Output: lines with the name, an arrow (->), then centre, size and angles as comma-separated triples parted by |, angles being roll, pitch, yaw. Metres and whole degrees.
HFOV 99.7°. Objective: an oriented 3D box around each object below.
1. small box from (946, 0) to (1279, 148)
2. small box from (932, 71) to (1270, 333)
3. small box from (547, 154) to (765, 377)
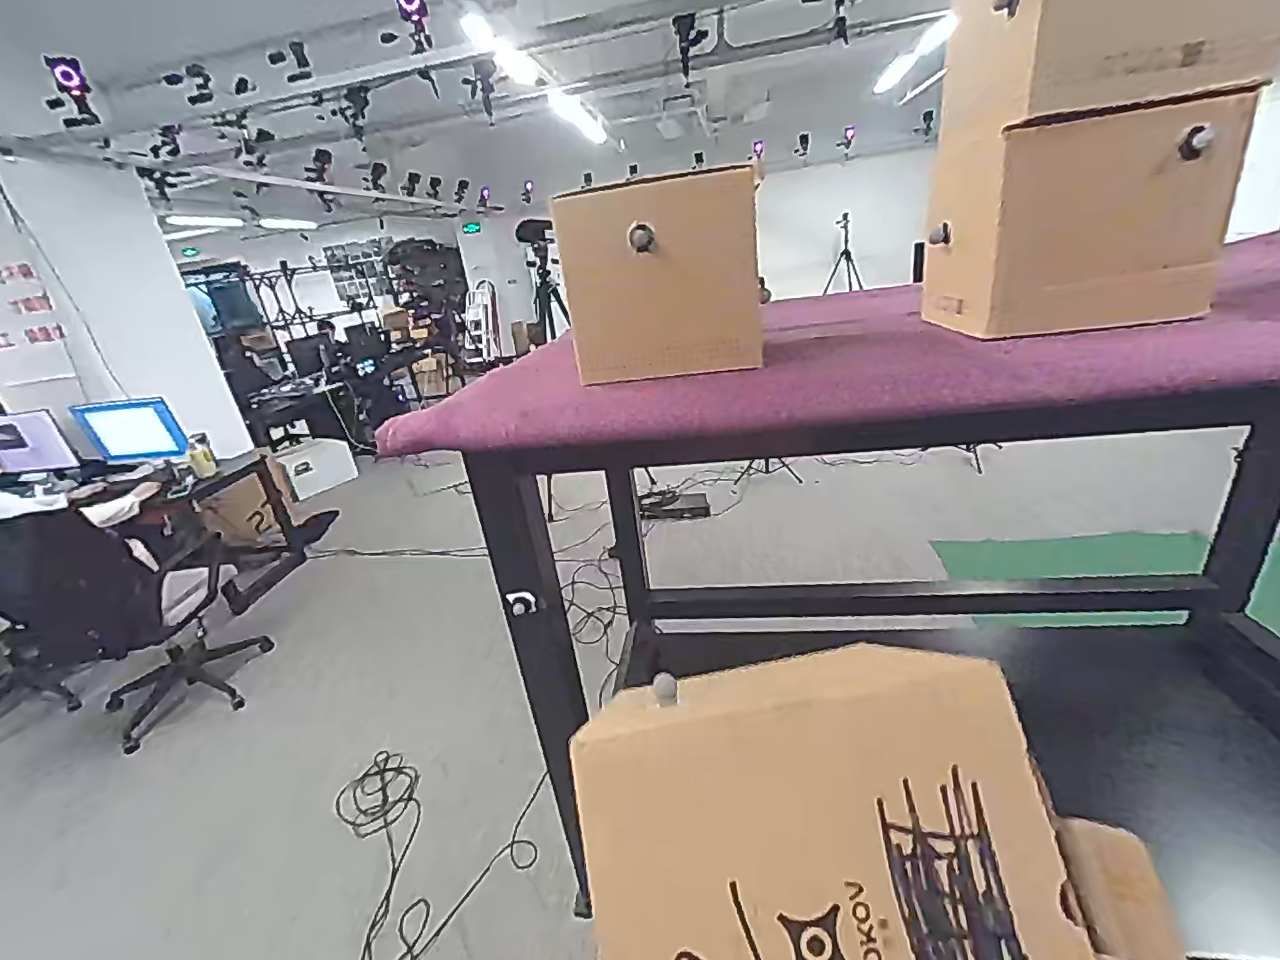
small box -> 0.372, -0.385, 0.436 | 0.168, 0.176, 0.179 | -3, 21, 7
small box -> 0.386, -0.235, 0.497 | 0.179, 0.176, 0.168 | -4, 22, 10
small box -> 0.027, -0.205, 0.540 | 0.179, 0.176, 0.168 | -4, 24, 10
